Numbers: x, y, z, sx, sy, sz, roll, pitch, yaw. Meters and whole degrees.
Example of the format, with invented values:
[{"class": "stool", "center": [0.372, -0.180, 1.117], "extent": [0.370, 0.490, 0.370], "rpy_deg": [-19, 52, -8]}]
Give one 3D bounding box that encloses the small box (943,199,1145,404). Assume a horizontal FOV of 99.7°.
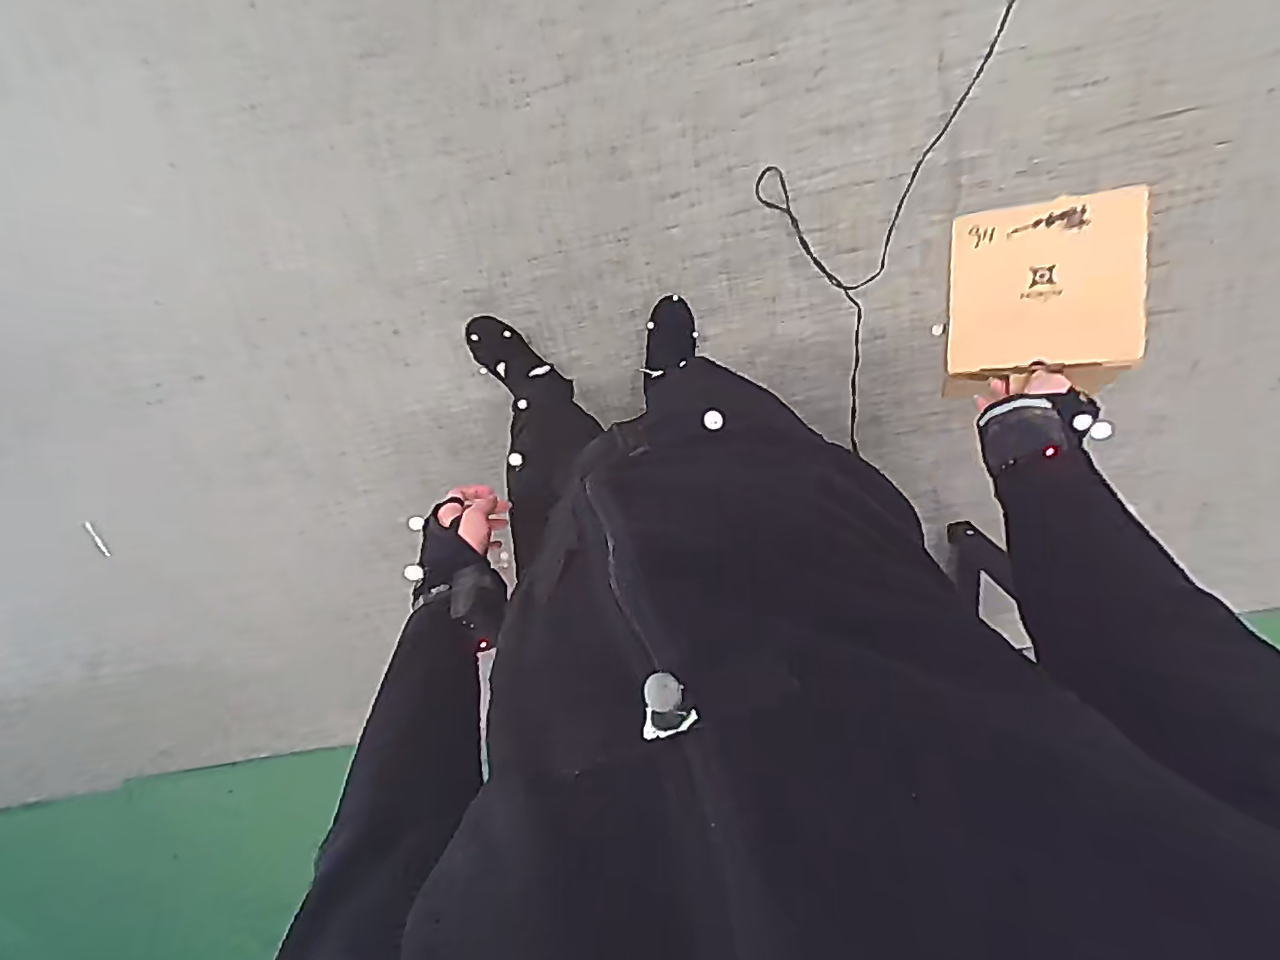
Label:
[{"class": "small box", "center": [0.454, -0.187, 0.633], "extent": [0.168, 0.176, 0.179], "rpy_deg": [3, 86, 29]}]
